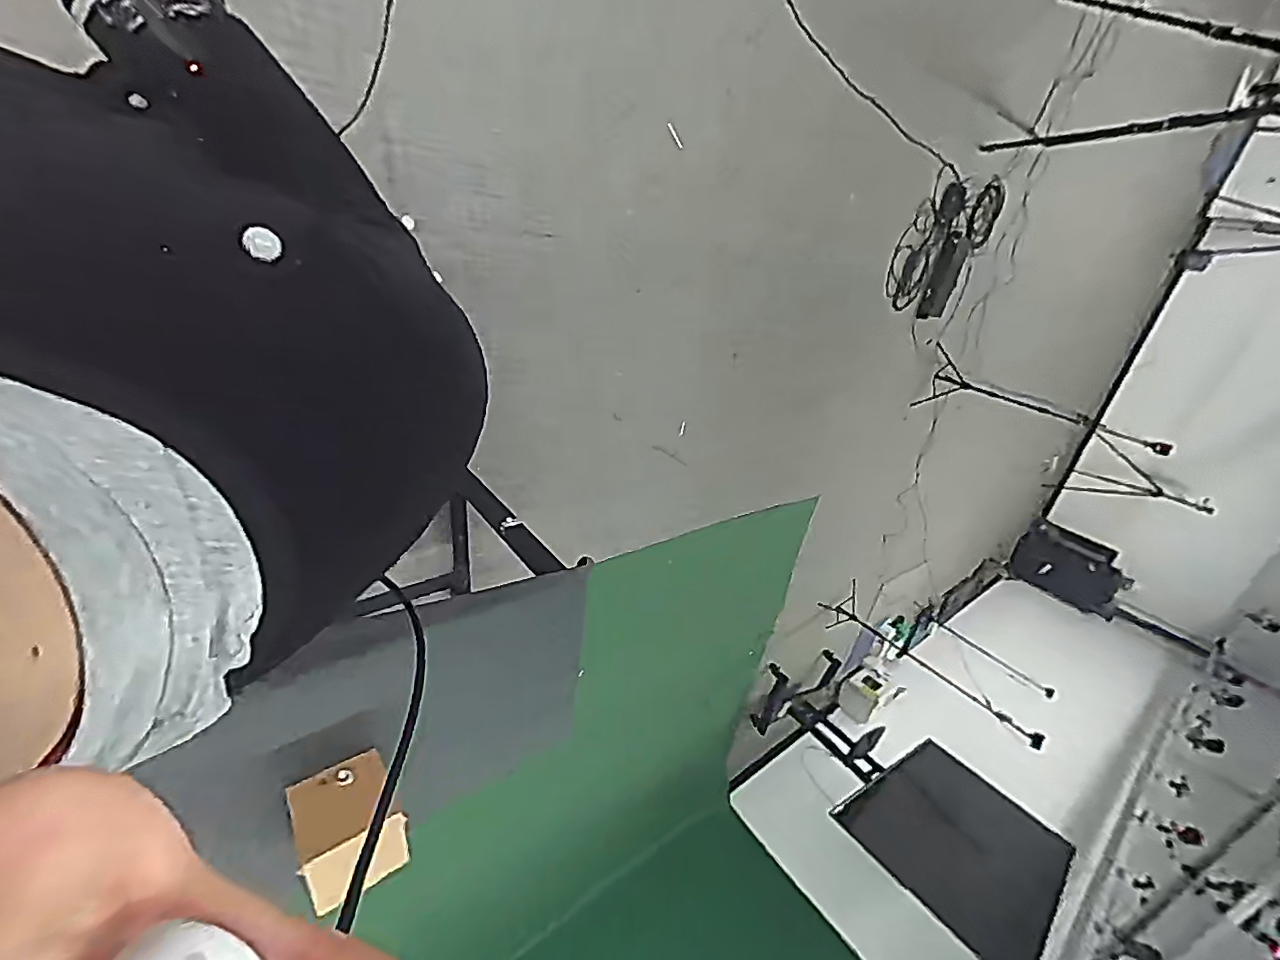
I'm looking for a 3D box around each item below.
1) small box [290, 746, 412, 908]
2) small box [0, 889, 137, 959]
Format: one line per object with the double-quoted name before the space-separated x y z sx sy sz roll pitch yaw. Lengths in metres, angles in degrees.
"small box" -0.569 0.674 1.069 0.168 0.176 0.179 -17 126 -37
"small box" -0.893 0.777 0.822 0.168 0.176 0.179 -13 125 -38
